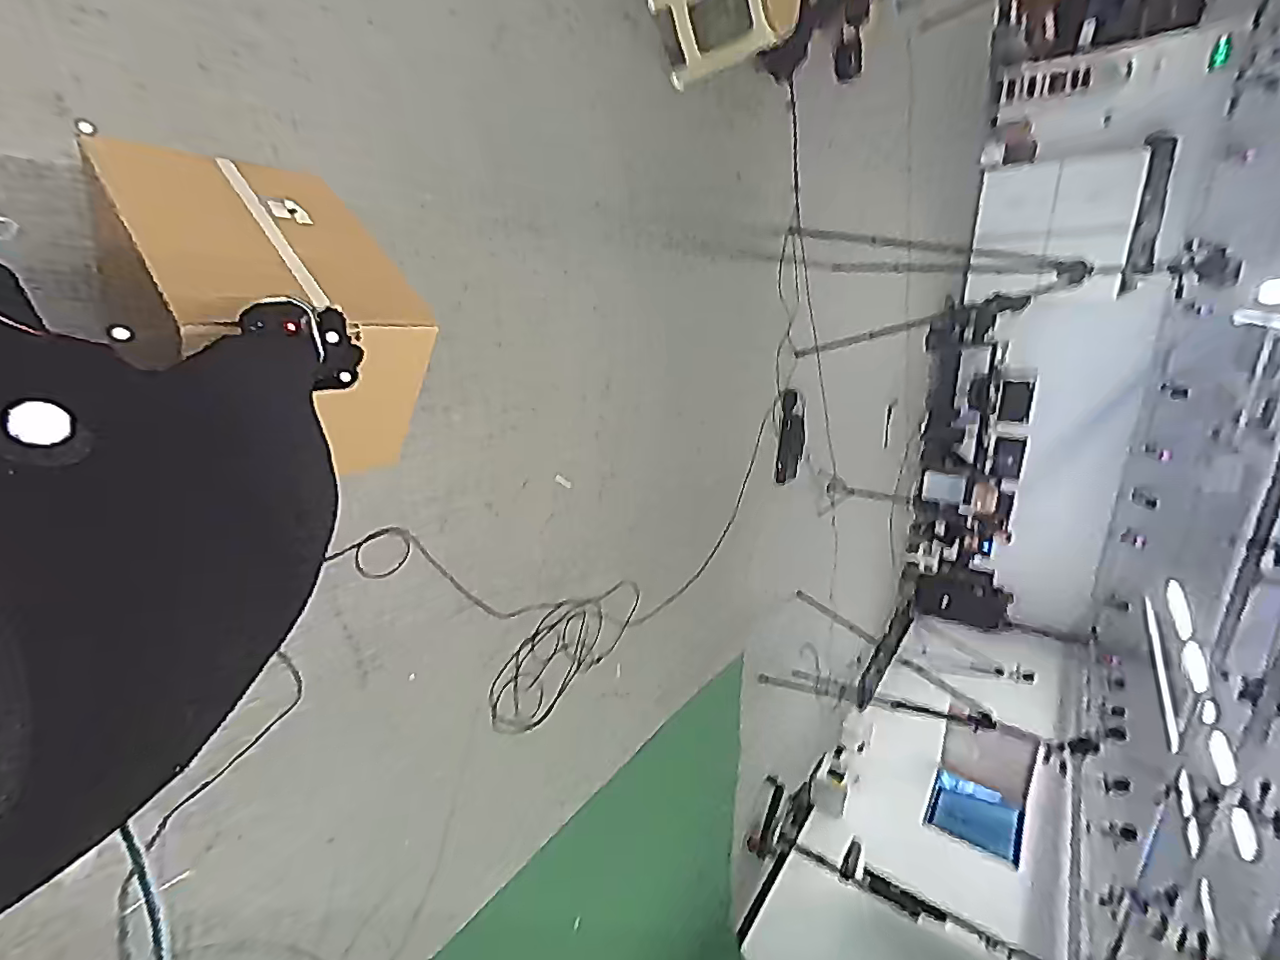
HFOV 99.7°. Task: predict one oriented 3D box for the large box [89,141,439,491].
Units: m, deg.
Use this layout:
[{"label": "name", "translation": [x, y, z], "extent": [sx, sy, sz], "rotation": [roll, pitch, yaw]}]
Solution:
[{"label": "large box", "translation": [-0.591, -0.250, 0.864], "extent": [0.320, 0.408, 0.320], "rotation": [-18, 150, -49]}]
